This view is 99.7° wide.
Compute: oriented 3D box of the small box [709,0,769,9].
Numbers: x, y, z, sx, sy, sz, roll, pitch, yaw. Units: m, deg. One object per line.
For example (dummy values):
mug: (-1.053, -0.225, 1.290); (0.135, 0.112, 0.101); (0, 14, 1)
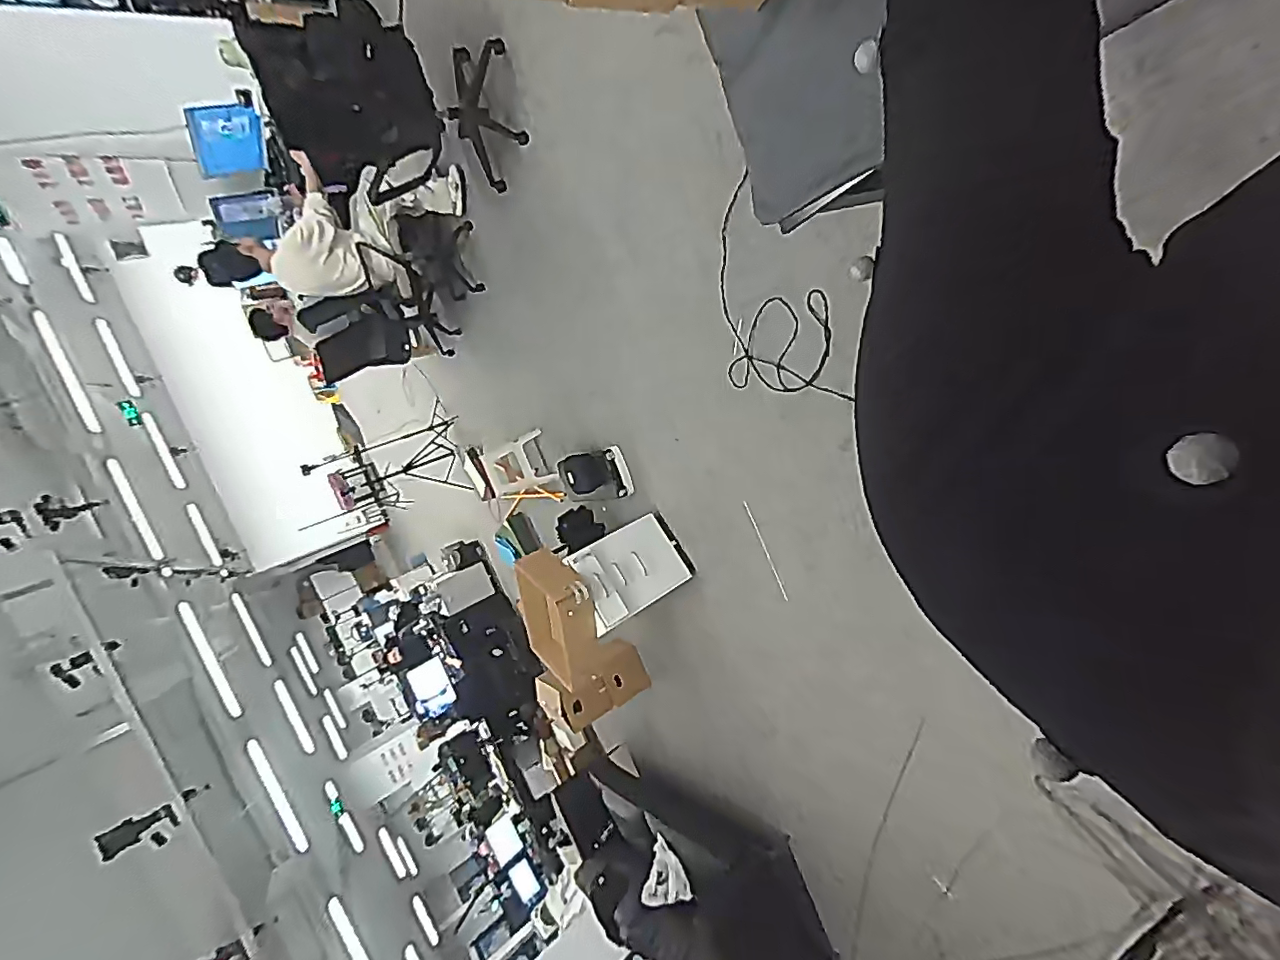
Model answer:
small box: (0.112, -0.730, 0.664); (0.168, 0.176, 0.179); (-21, 95, 58)

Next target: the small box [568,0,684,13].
small box: (-0.007, -0.654, 0.578); (0.179, 0.176, 0.168); (-19, 97, 59)
